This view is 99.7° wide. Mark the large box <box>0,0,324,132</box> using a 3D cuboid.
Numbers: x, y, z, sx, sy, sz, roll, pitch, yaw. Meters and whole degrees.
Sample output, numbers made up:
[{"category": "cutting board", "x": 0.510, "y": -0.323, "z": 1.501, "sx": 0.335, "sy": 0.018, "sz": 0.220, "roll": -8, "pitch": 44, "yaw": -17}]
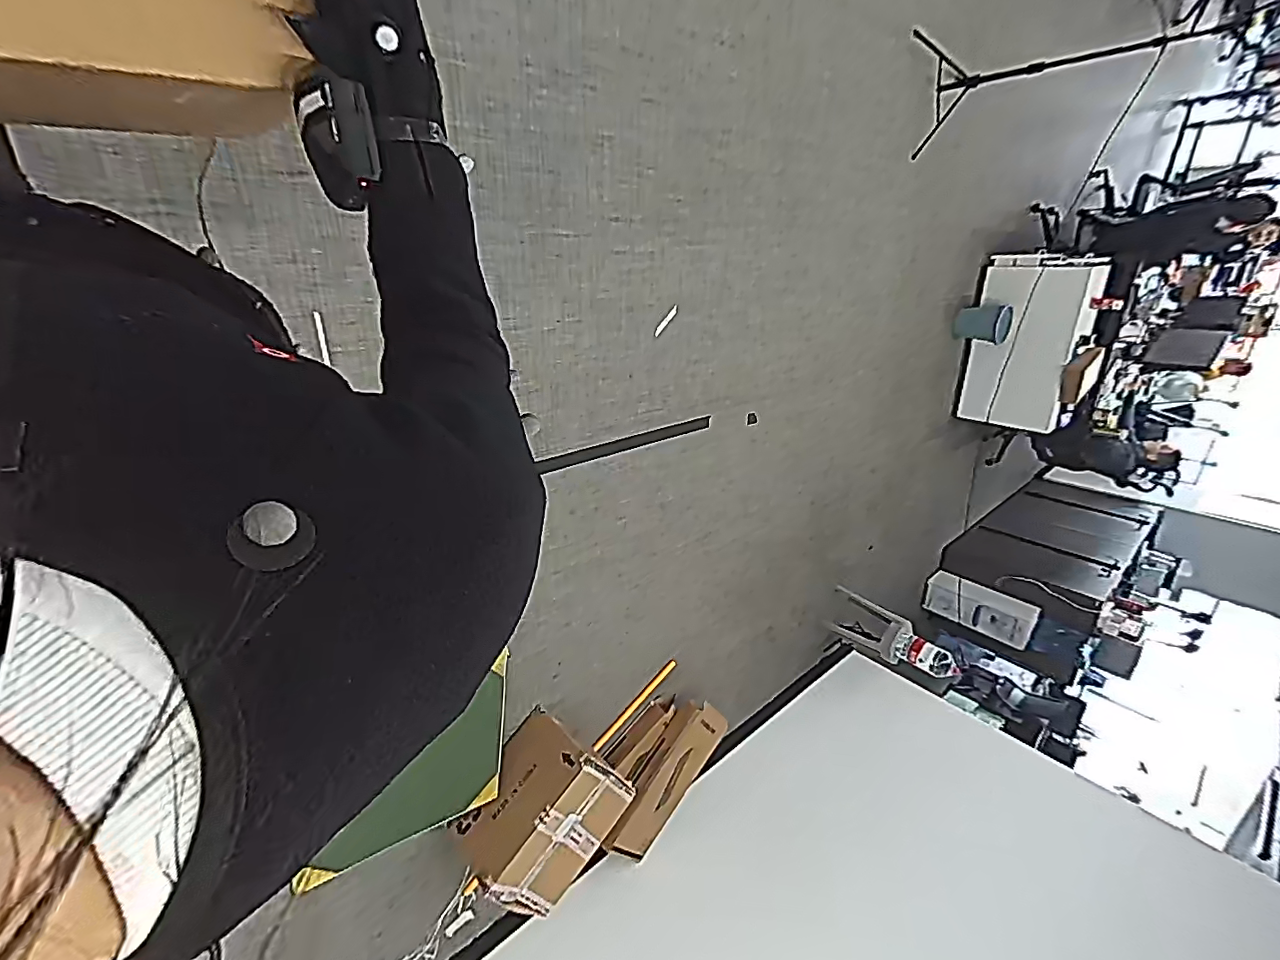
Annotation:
[{"category": "large box", "x": -0.462, "y": -0.393, "z": 0.285, "sx": 0.408, "sy": 0.320, "sz": 0.320, "roll": -21, "pitch": 124, "yaw": -36}]
